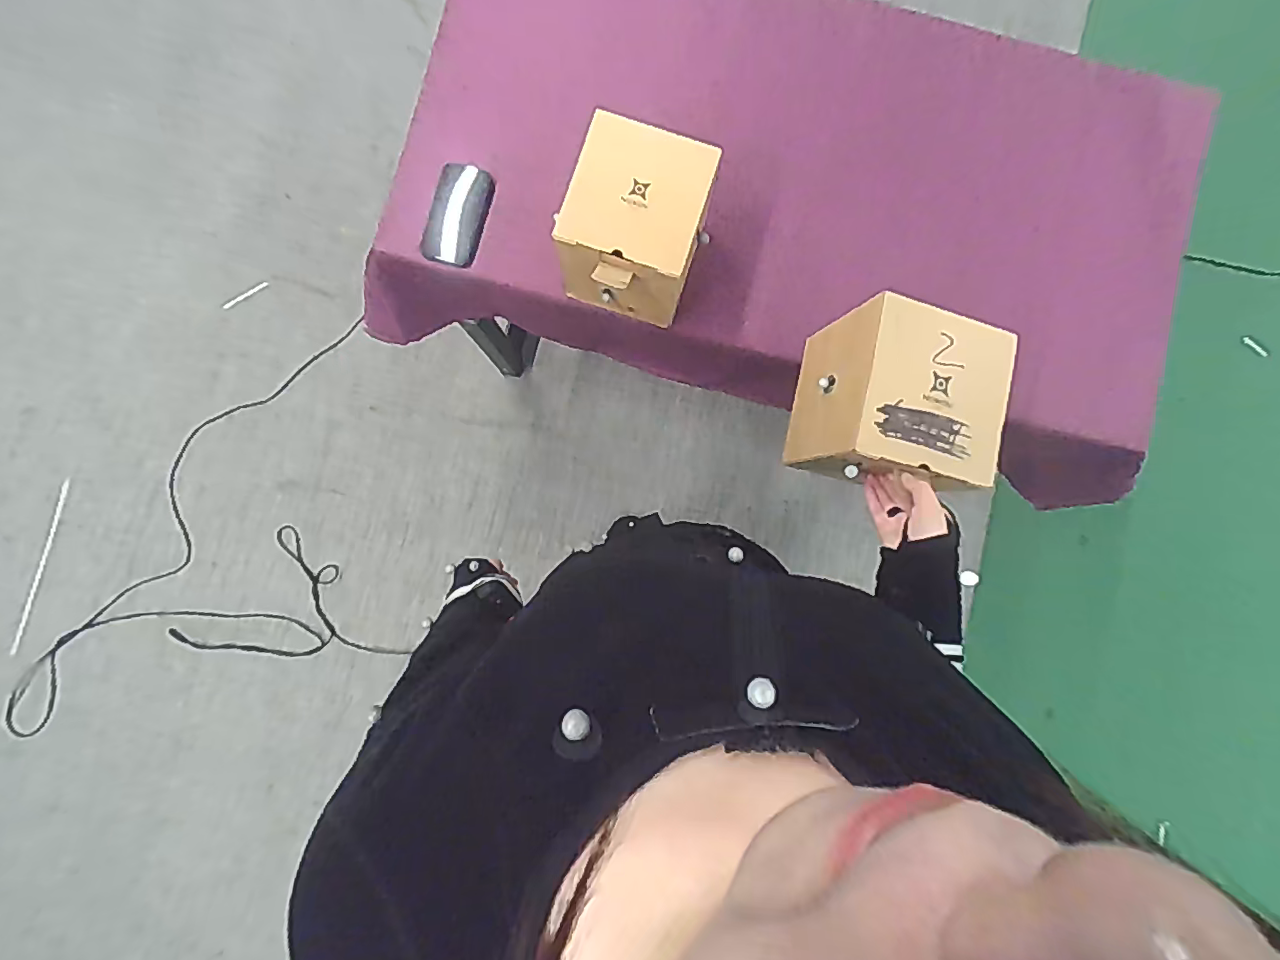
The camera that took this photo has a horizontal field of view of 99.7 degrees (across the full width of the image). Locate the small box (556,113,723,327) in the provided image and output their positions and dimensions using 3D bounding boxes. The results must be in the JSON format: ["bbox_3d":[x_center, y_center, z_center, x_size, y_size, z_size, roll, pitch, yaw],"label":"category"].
[{"bbox_3d":[-0.005,-0.338,0.738,0.168,0.176,0.179,18,85,-1],"label":"small box"}]
